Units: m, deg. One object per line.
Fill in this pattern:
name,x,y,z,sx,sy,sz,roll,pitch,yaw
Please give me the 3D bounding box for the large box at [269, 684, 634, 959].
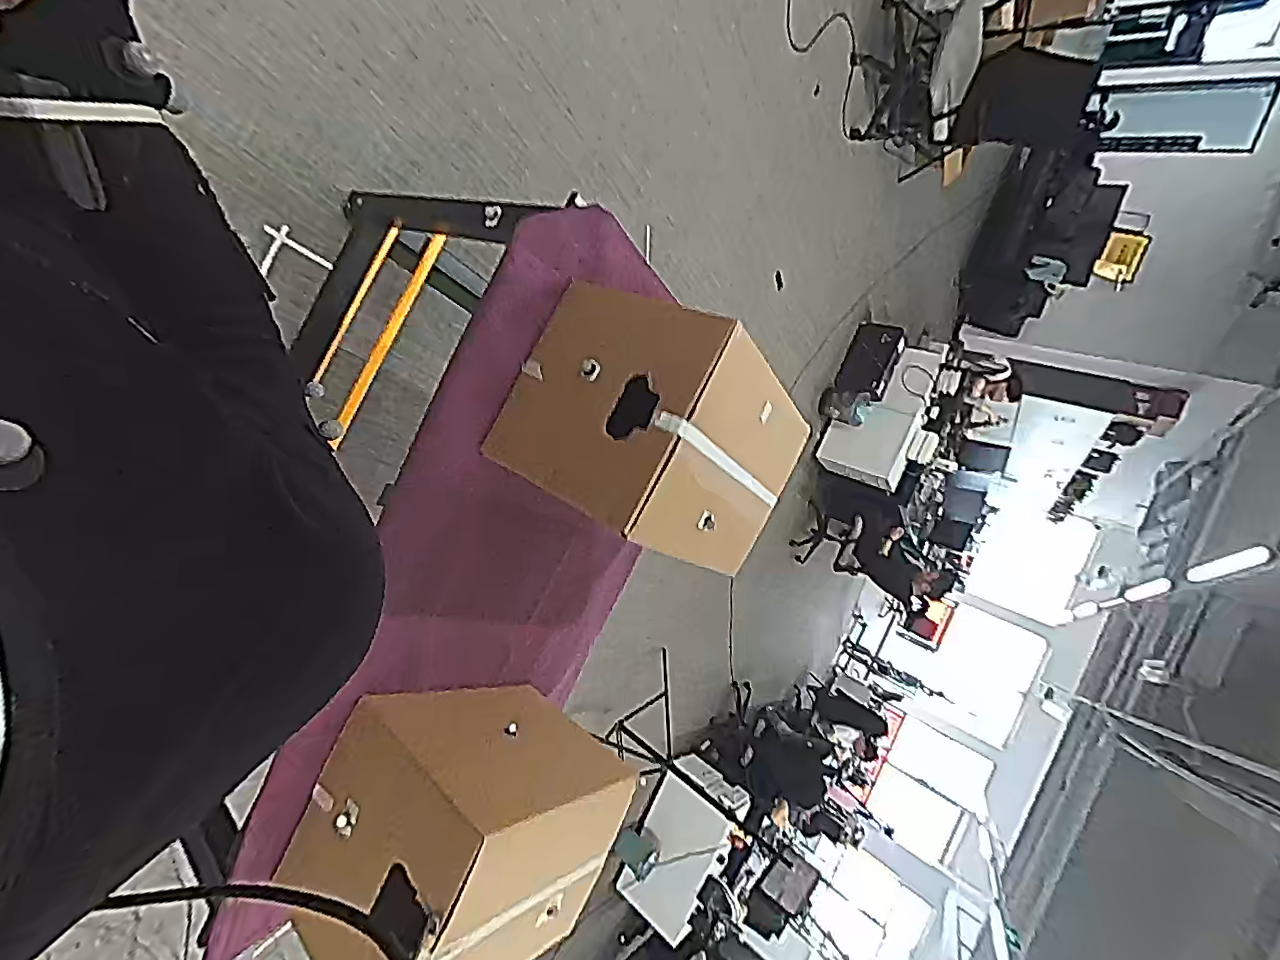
large box,-0.282,0.564,0.886,0.408,0.320,0.320,29,86,-58
